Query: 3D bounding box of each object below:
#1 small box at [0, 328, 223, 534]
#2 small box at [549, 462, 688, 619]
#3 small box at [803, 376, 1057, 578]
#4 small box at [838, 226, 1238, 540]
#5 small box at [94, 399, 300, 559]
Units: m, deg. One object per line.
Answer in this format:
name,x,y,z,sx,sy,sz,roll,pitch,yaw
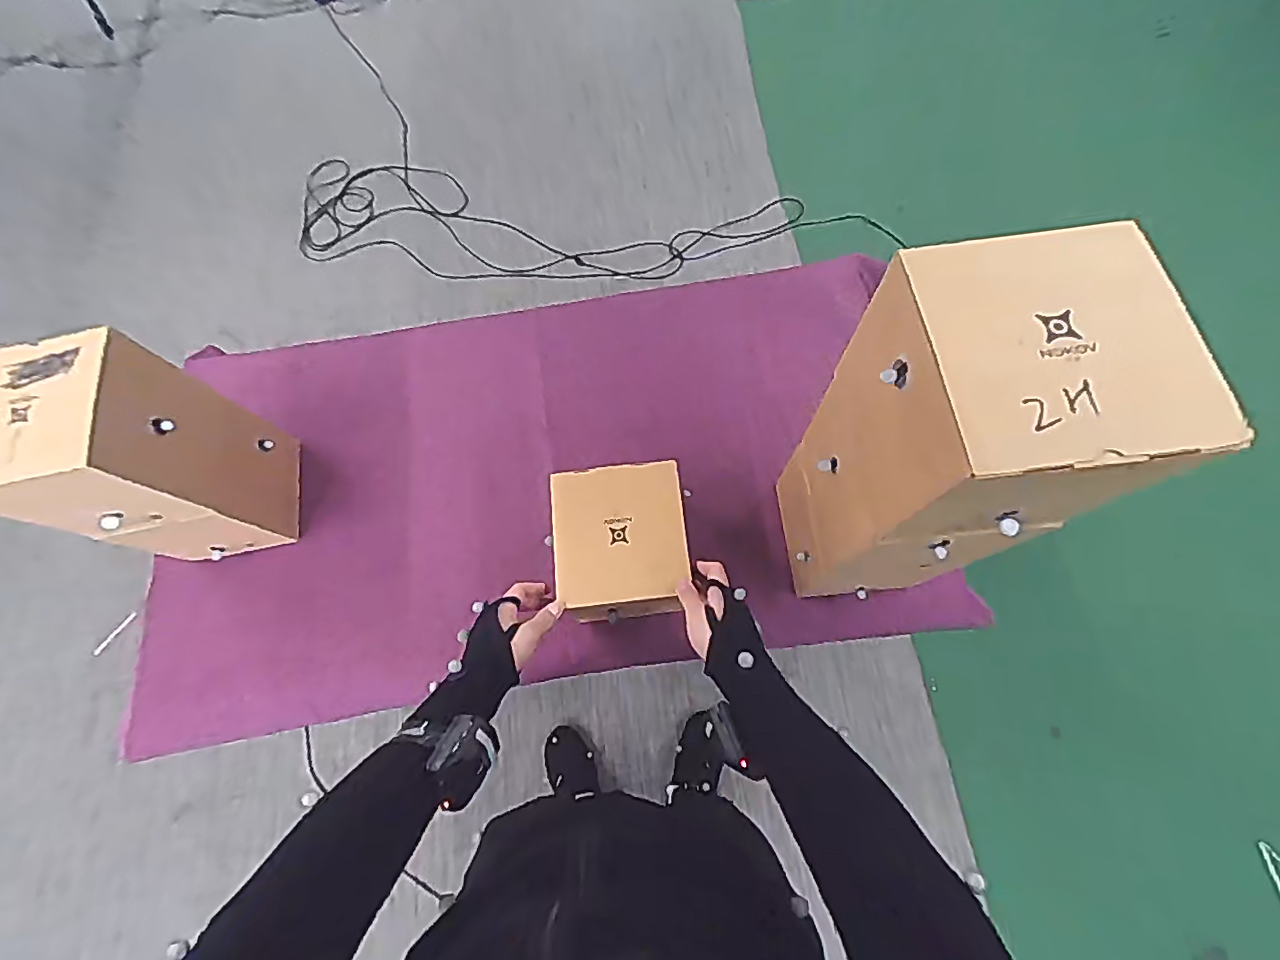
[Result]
small box,-0.646,-0.050,0.650,0.168,0.176,0.179,-12,71,0
small box,-0.024,0.093,0.742,0.168,0.176,0.179,-7,69,1
small box,0.284,-0.002,0.580,0.168,0.176,0.179,-6,69,3
small box,0.272,-0.063,0.427,0.168,0.176,0.179,-6,70,2
small box,-0.638,0.005,0.804,0.168,0.176,0.179,-11,71,-1
